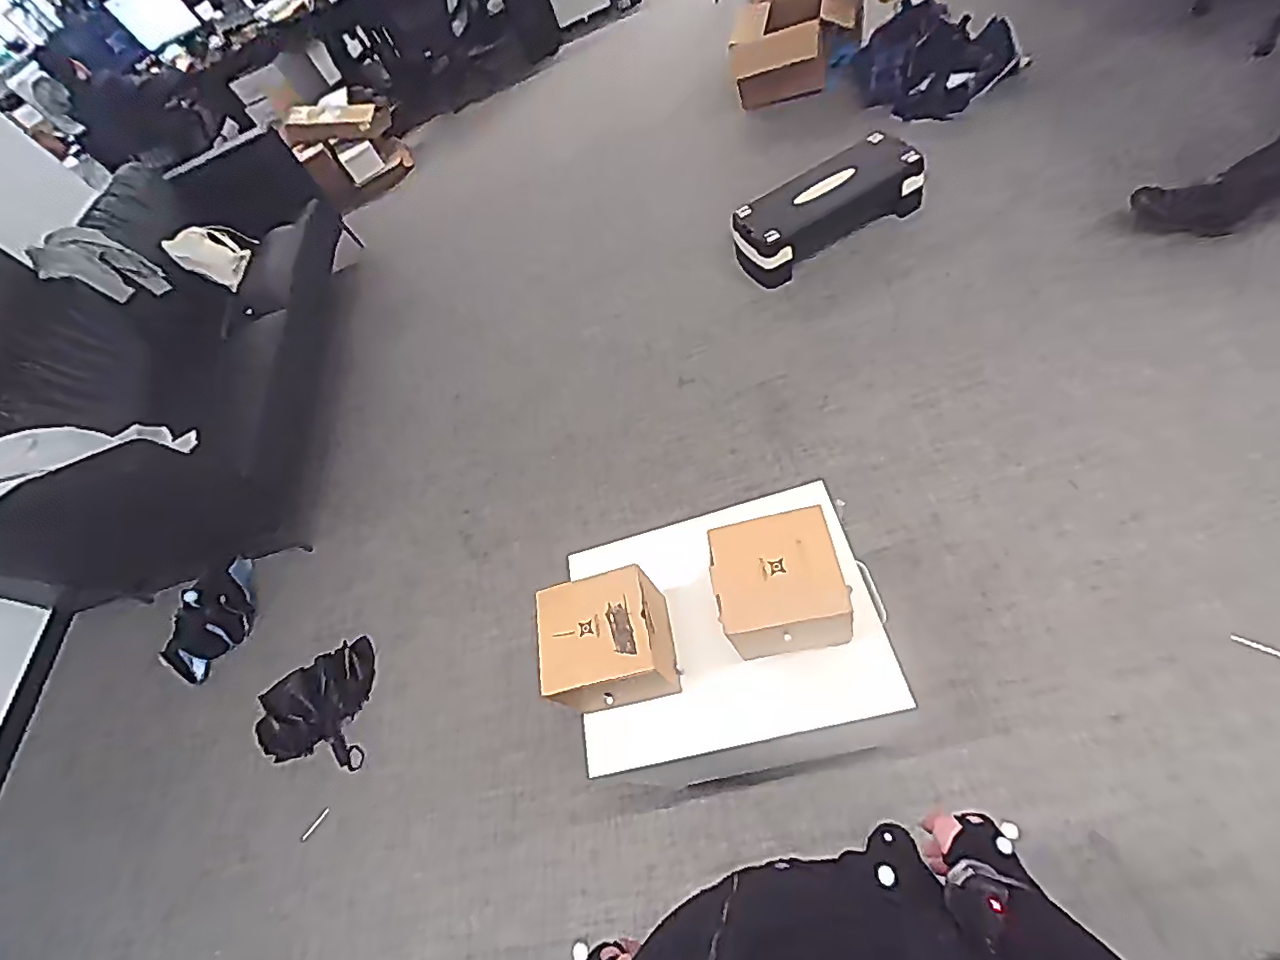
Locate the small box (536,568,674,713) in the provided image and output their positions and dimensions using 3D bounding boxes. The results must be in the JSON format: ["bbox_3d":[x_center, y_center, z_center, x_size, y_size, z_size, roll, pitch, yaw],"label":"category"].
[{"bbox_3d":[-0.051,0.265,0.872,0.179,0.176,0.168,-17,55,10],"label":"small box"}]

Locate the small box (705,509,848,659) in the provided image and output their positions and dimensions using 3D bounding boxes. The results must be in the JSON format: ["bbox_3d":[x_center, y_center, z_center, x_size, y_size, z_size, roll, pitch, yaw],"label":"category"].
[{"bbox_3d":[0.212,0.169,0.835,0.179,0.176,0.168,-14,58,12],"label":"small box"}]
